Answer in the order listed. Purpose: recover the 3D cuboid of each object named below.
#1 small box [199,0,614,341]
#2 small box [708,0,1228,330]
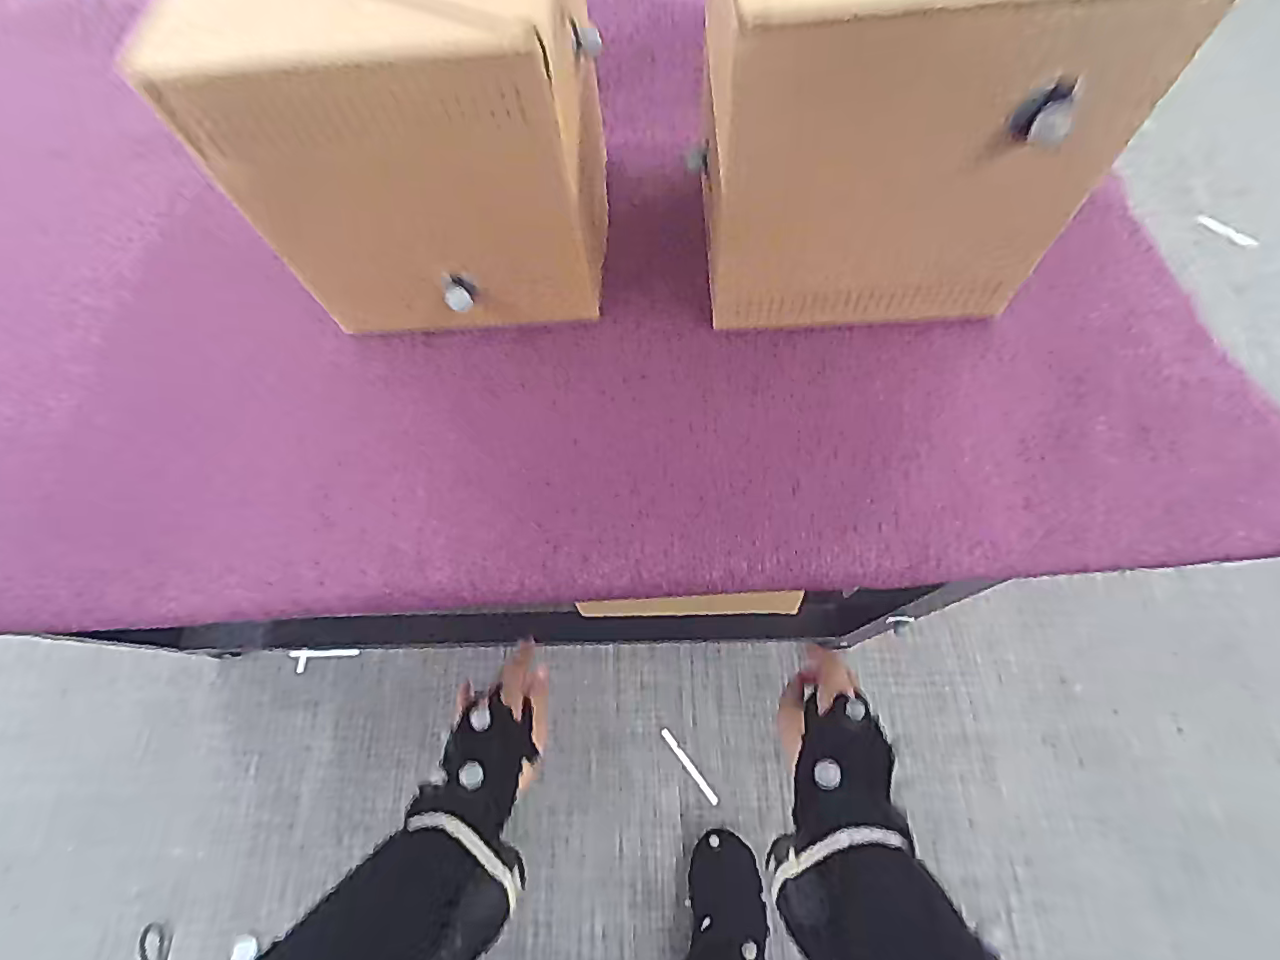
[{"bbox_3d":[-0.112,-0.206,0.325,0.179,0.176,0.168,-2,65,5],"label":"small box"},{"bbox_3d":[0.133,-0.203,0.305,0.179,0.176,0.168,-2,64,4],"label":"small box"}]
